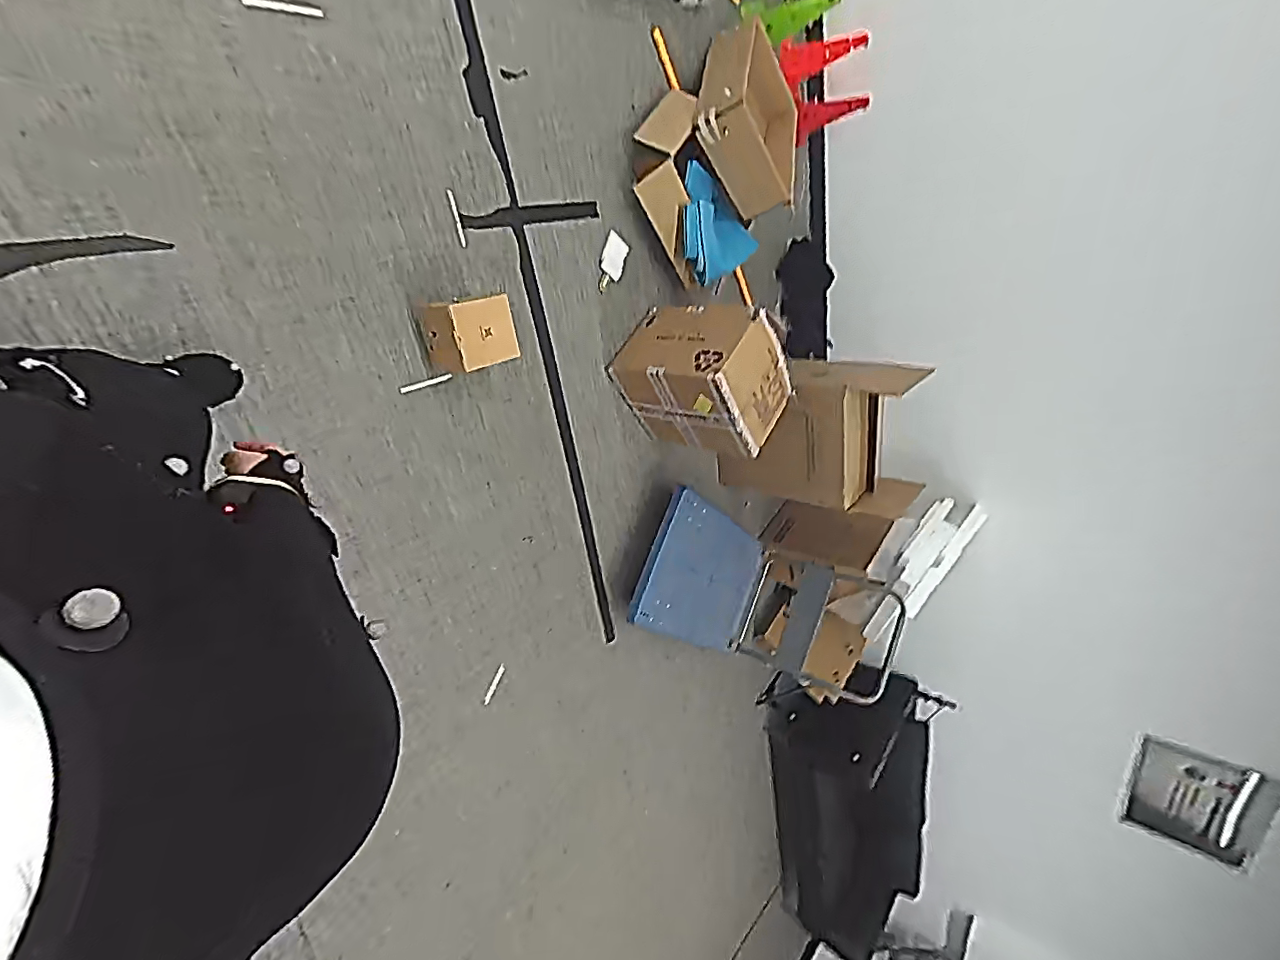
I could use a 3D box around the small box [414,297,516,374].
[{"bbox_3d":[-0.462,-0.388,1.430,0.179,0.176,0.168,-31,123,-40],"label":"small box"}]
